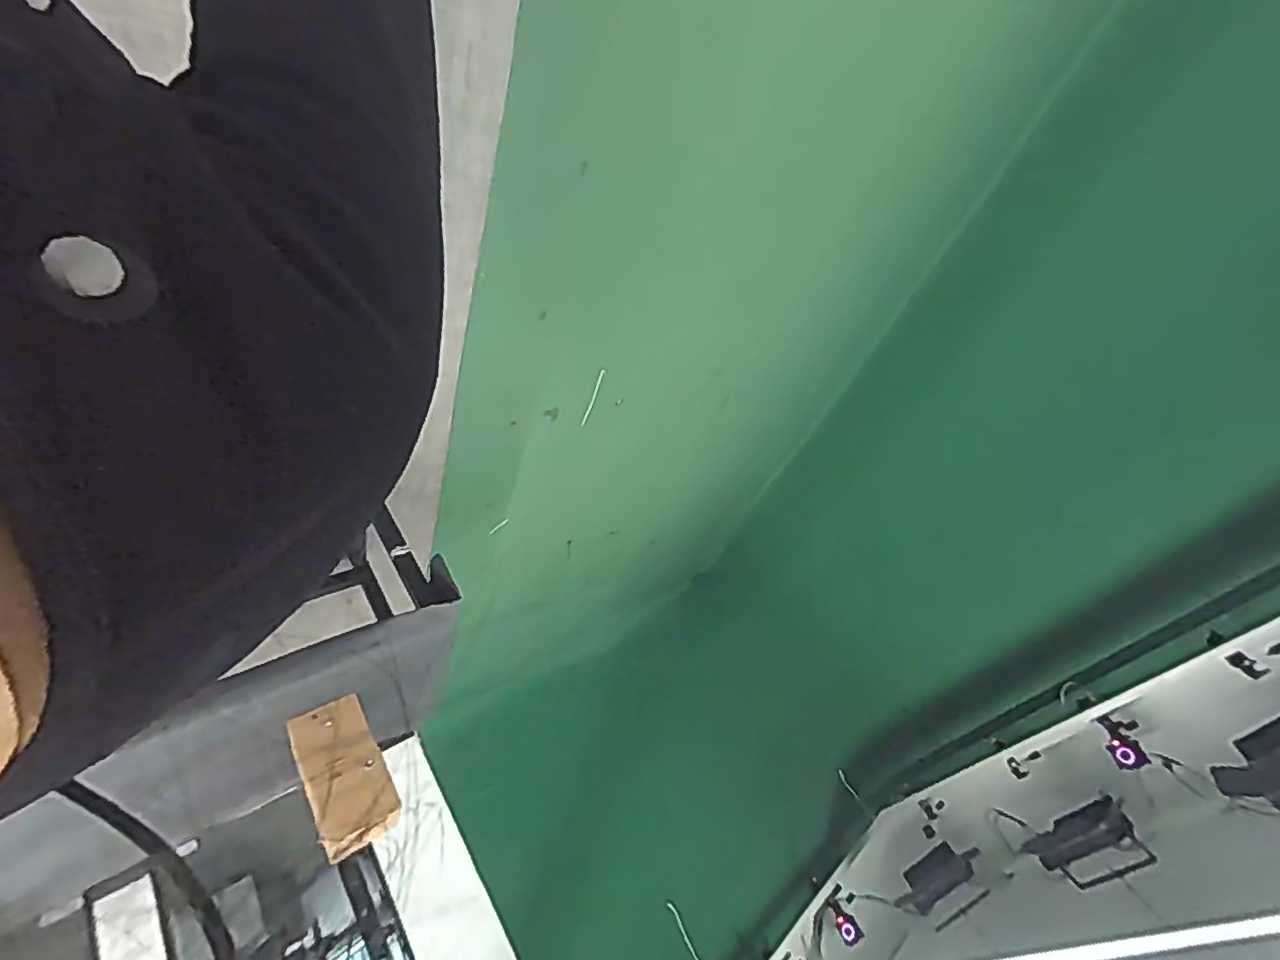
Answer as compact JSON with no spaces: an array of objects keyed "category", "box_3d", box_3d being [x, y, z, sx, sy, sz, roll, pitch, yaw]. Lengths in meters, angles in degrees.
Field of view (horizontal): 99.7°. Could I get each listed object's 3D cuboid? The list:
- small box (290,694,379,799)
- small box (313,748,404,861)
[{"category":"small box","box_3d":[-0.825,0.713,1.460,0.168,0.176,0.179,-18,146,-40]},{"category":"small box","box_3d":[-0.729,0.827,1.393,0.168,0.176,0.179,-16,146,-41]}]
